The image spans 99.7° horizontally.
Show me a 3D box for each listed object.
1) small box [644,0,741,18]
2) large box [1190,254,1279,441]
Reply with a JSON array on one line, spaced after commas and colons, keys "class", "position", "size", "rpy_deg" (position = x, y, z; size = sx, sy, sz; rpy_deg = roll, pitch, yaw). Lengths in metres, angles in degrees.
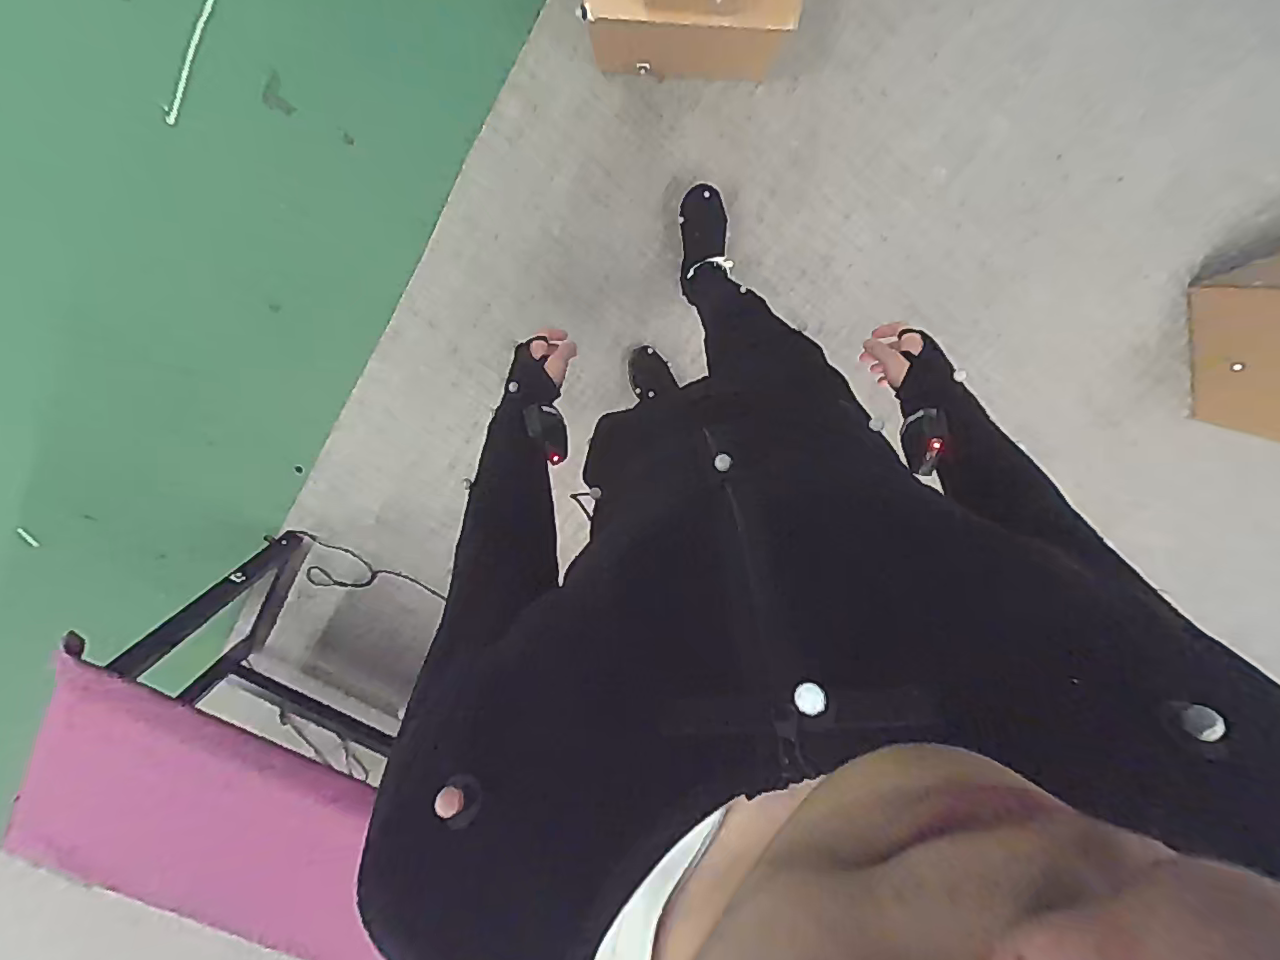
[{"class": "small box", "position": [0.098, -0.897, 0.888], "size": [0.179, 0.176, 0.168], "rpy_deg": [4, 111, 0]}, {"class": "large box", "position": [1.674, -0.340, 1.334], "size": [0.320, 0.320, 0.408], "rpy_deg": [-22, 108, 8]}]
